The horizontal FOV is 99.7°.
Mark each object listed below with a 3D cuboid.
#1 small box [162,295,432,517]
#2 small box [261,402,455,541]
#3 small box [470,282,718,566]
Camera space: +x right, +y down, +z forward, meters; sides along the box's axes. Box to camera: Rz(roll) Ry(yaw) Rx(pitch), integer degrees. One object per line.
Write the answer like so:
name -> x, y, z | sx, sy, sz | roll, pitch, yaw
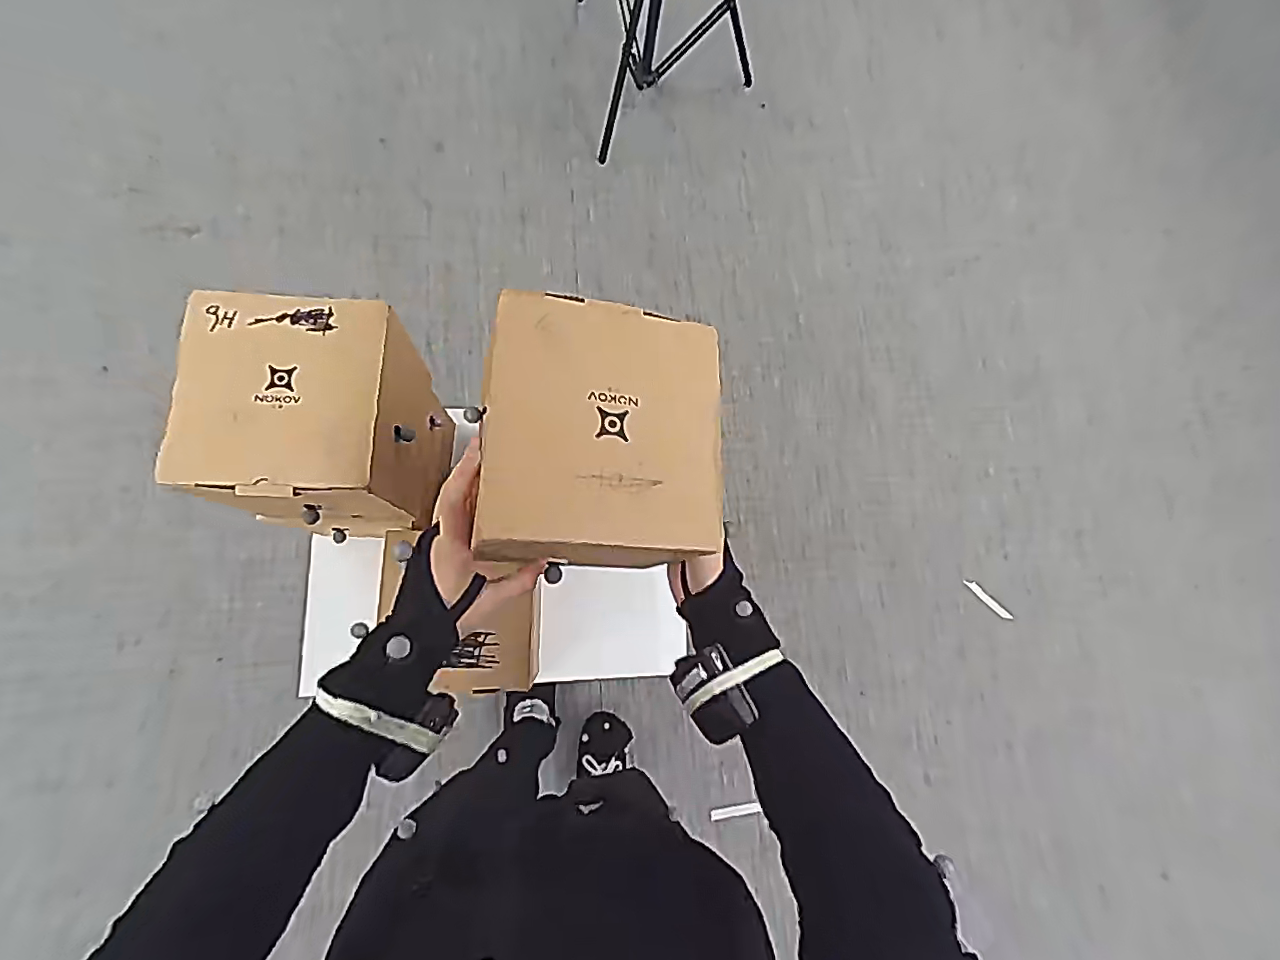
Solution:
small box -> -0.313, -0.058, 0.537 | 0.168, 0.176, 0.179 | 2, 78, -8
small box -> -0.342, -0.016, 0.693 | 0.168, 0.176, 0.179 | 3, 78, -8
small box -> -0.047, -0.027, 0.448 | 0.168, 0.176, 0.179 | 6, 76, -17
